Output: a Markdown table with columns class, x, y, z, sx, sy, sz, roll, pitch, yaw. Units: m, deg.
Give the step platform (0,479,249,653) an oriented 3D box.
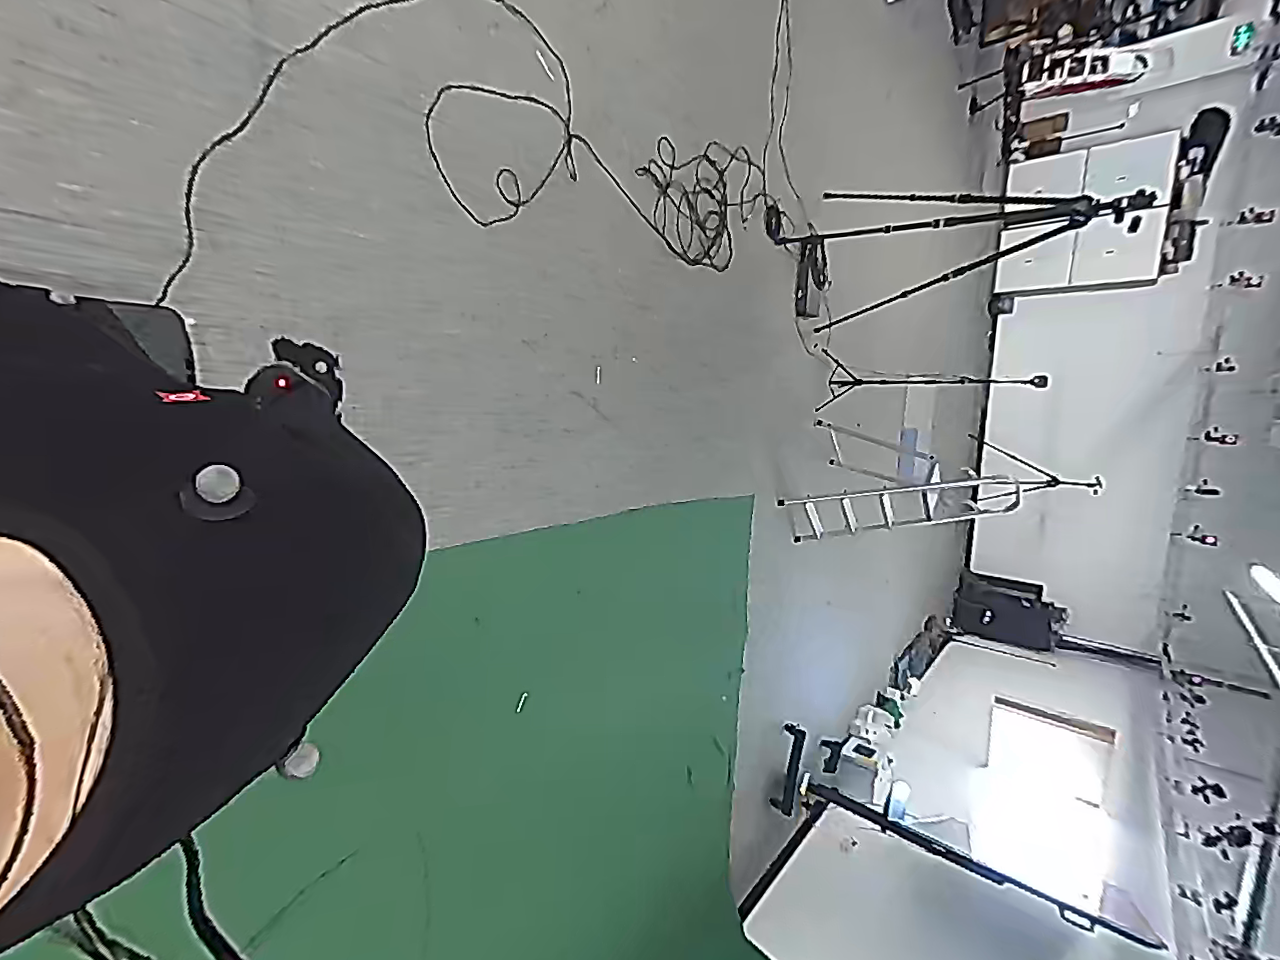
| class | x | y | z | sx | sy | sz | roll | pitch | yaw |
| --- | --- | --- | --- | --- | --- | --- | --- | --- | --- |
| step platform | -1.060 | 0.167 | 0.860 | 0.684 | 0.204 | 0.286 | -8 | 102 | -50 |
